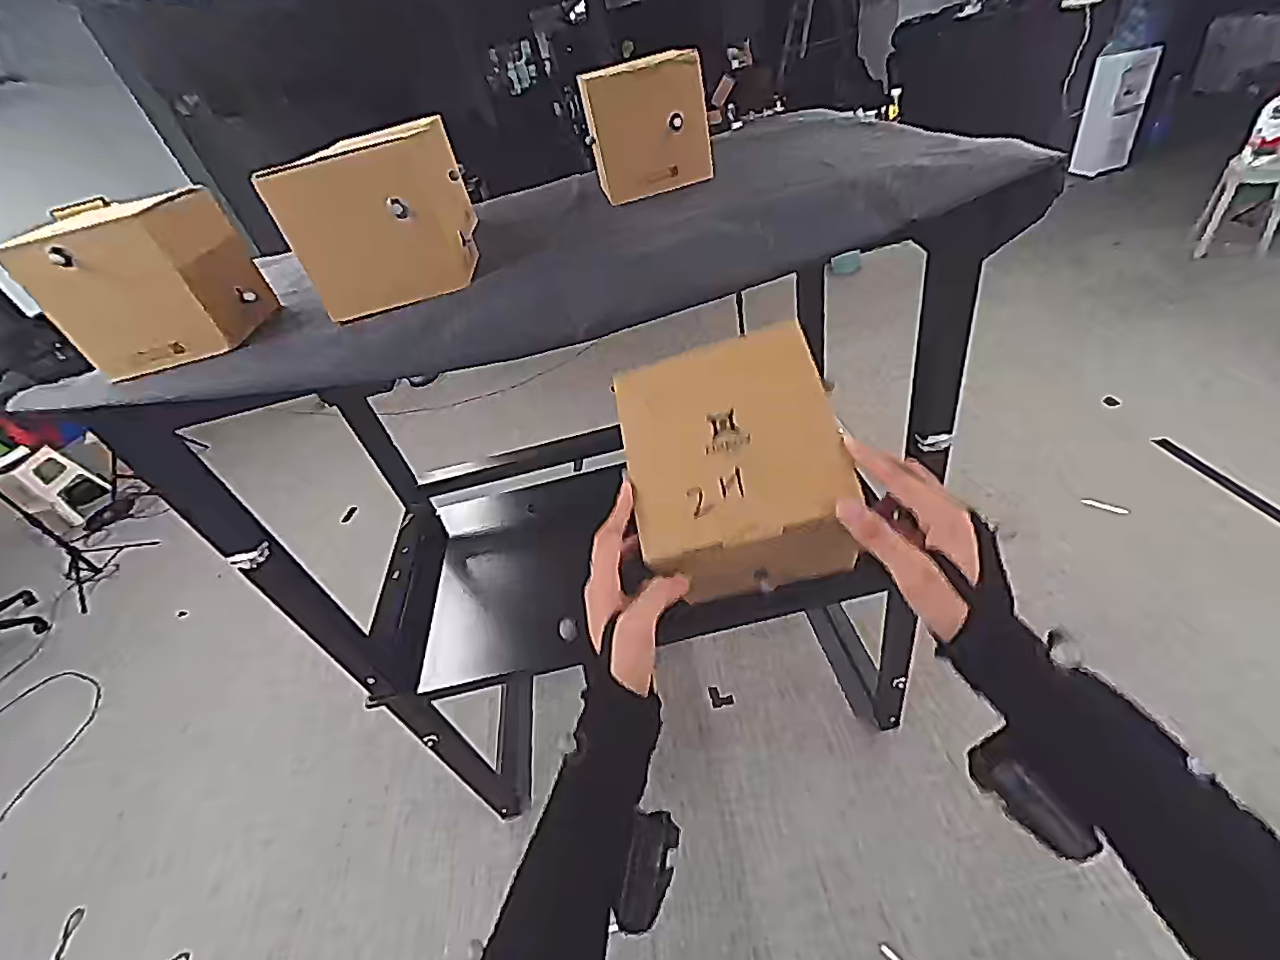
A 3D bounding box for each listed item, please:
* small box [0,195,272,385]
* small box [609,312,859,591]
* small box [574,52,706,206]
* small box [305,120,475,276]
[{"bbox_3d":[-0.624,-0.247,0.701,0.168,0.176,0.179,-16,38,-1],"label":"small box"},{"bbox_3d":[0.084,-0.013,0.492,0.168,0.176,0.179,-16,65,12],"label":"small box"},{"bbox_3d":[0.001,-0.557,0.864,0.168,0.176,0.179,-15,39,0],"label":"small box"},{"bbox_3d":[-0.387,-0.456,0.878,0.179,0.176,0.168,-14,39,3],"label":"small box"}]
